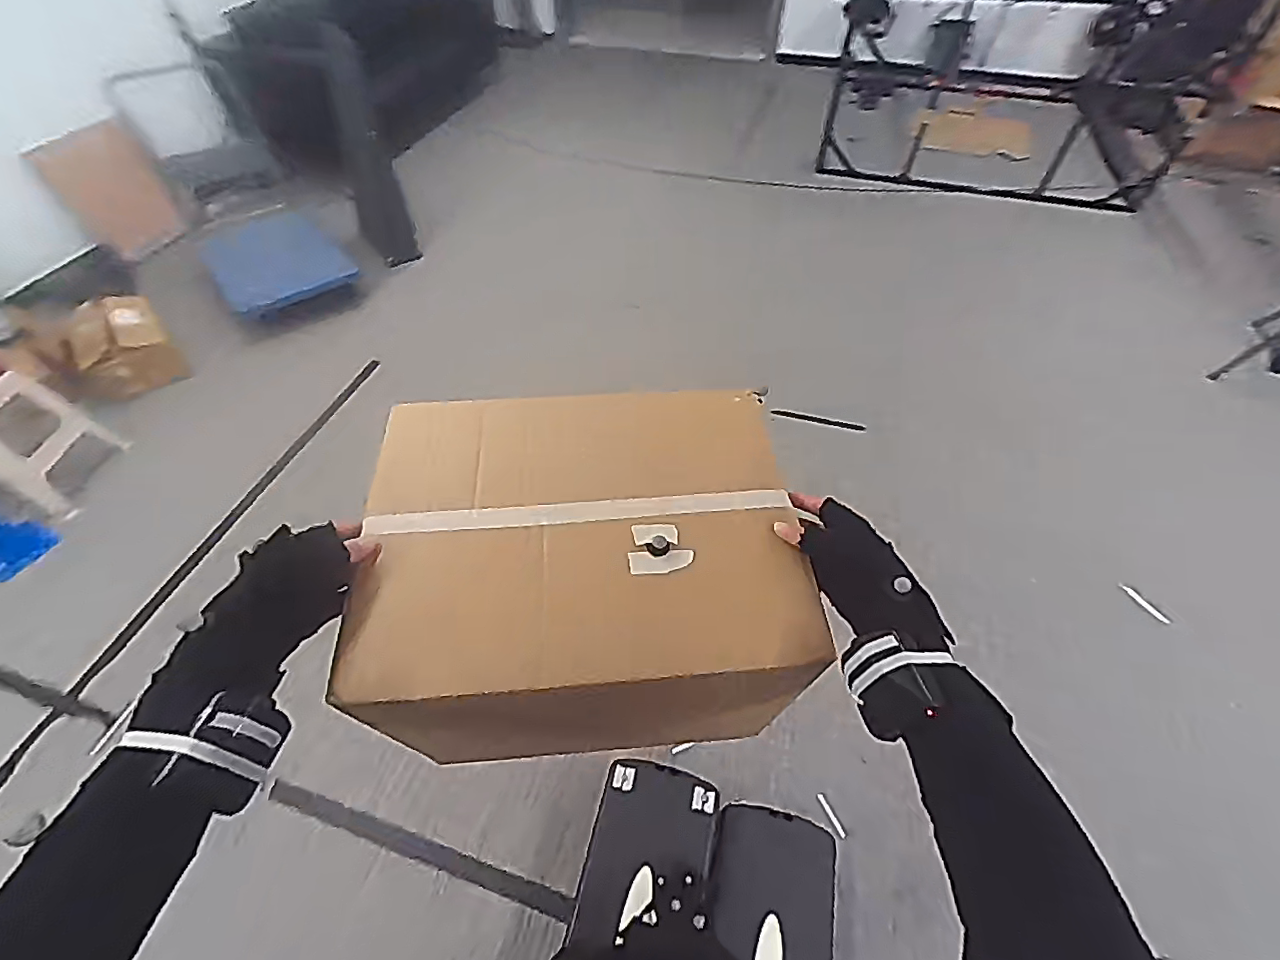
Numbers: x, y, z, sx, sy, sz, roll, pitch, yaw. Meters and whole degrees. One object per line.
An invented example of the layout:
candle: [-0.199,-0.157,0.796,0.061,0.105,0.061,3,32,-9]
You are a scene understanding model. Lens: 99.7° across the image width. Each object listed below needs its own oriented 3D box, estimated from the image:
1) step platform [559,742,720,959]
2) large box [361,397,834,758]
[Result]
step platform: [-0.008,0.977,1.220,0.286,0.204,0.684,11,52,8]
large box: [-0.049,0.124,0.652,0.408,0.320,0.320,-3,55,-5]
